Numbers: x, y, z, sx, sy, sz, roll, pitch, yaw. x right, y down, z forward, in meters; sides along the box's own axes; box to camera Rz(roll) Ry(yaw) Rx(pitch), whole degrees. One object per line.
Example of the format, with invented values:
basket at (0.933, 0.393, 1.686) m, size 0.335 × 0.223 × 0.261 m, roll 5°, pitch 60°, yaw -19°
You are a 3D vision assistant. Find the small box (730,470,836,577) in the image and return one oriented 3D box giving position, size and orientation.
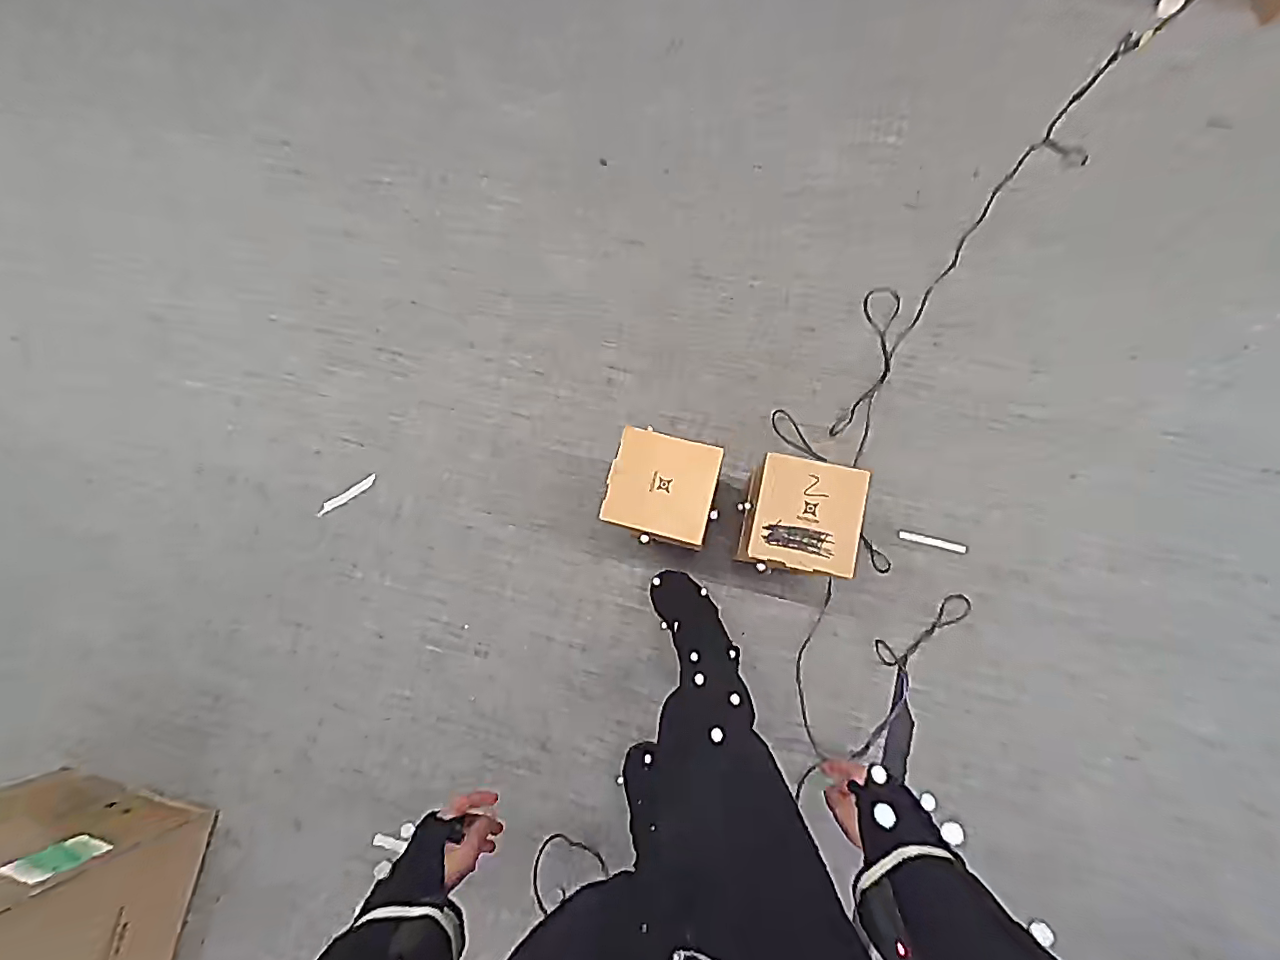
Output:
small box at (0.282, 0.093, 1.098) m, size 0.168 × 0.176 × 0.179 m, roll 12°, pitch 83°, yaw 7°

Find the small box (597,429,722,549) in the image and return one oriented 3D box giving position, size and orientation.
small box at (0.040, 0.024, 0.968) m, size 0.179 × 0.176 × 0.168 m, roll 14°, pitch 82°, yaw 9°
